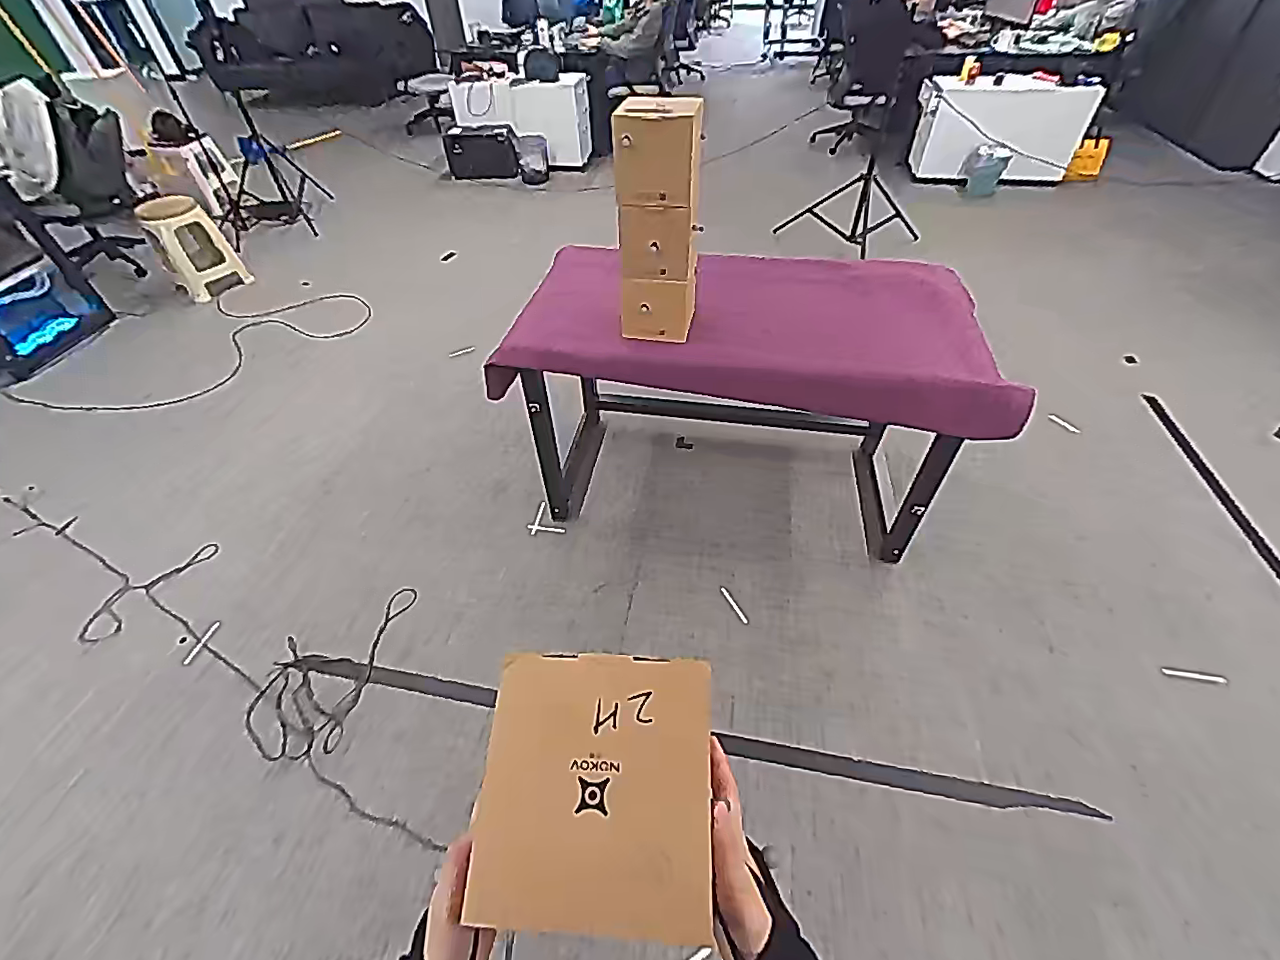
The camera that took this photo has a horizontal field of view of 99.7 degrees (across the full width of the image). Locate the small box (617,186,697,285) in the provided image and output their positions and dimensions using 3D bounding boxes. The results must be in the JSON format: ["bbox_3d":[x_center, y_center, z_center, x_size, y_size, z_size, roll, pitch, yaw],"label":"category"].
[{"bbox_3d":[0.045,-0.584,1.295,0.168,0.176,0.179,6,46,7],"label":"small box"}]

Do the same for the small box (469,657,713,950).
[{"bbox_3d":[-0.022,0.260,0.460,0.168,0.176,0.179,1,60,5],"label":"small box"}]

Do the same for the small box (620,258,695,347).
[{"bbox_3d":[0.049,-0.466,1.409,0.168,0.176,0.179,7,46,9],"label":"small box"}]
